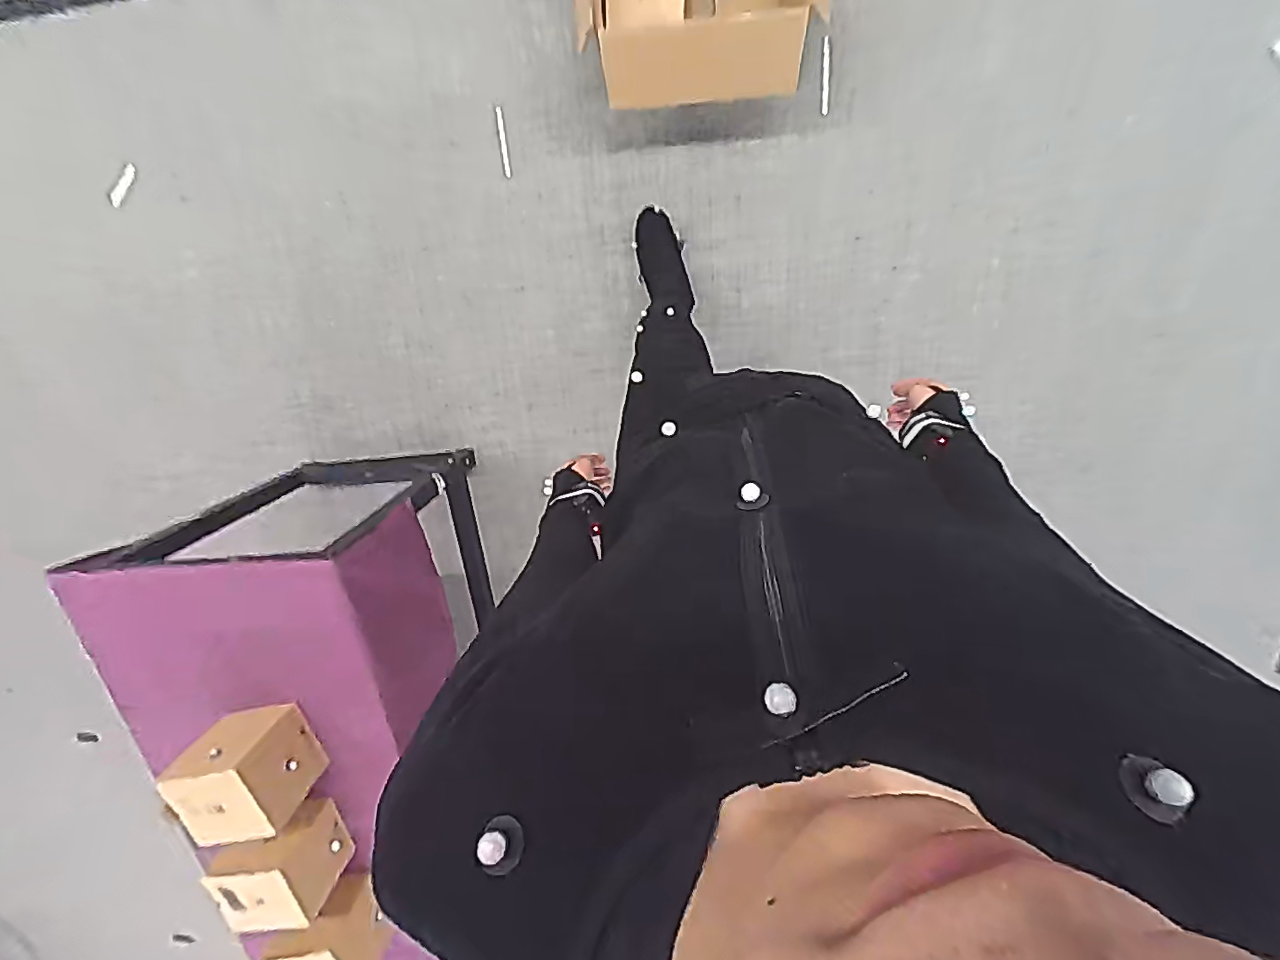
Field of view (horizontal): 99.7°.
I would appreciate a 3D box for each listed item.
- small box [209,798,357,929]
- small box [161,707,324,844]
[{"bbox_3d":[-0.754,0.817,1.161,0.179,0.176,0.168,-8,109,7],"label":"small box"},{"bbox_3d":[-0.768,0.579,1.074,0.179,0.176,0.168,-13,108,9],"label":"small box"}]
